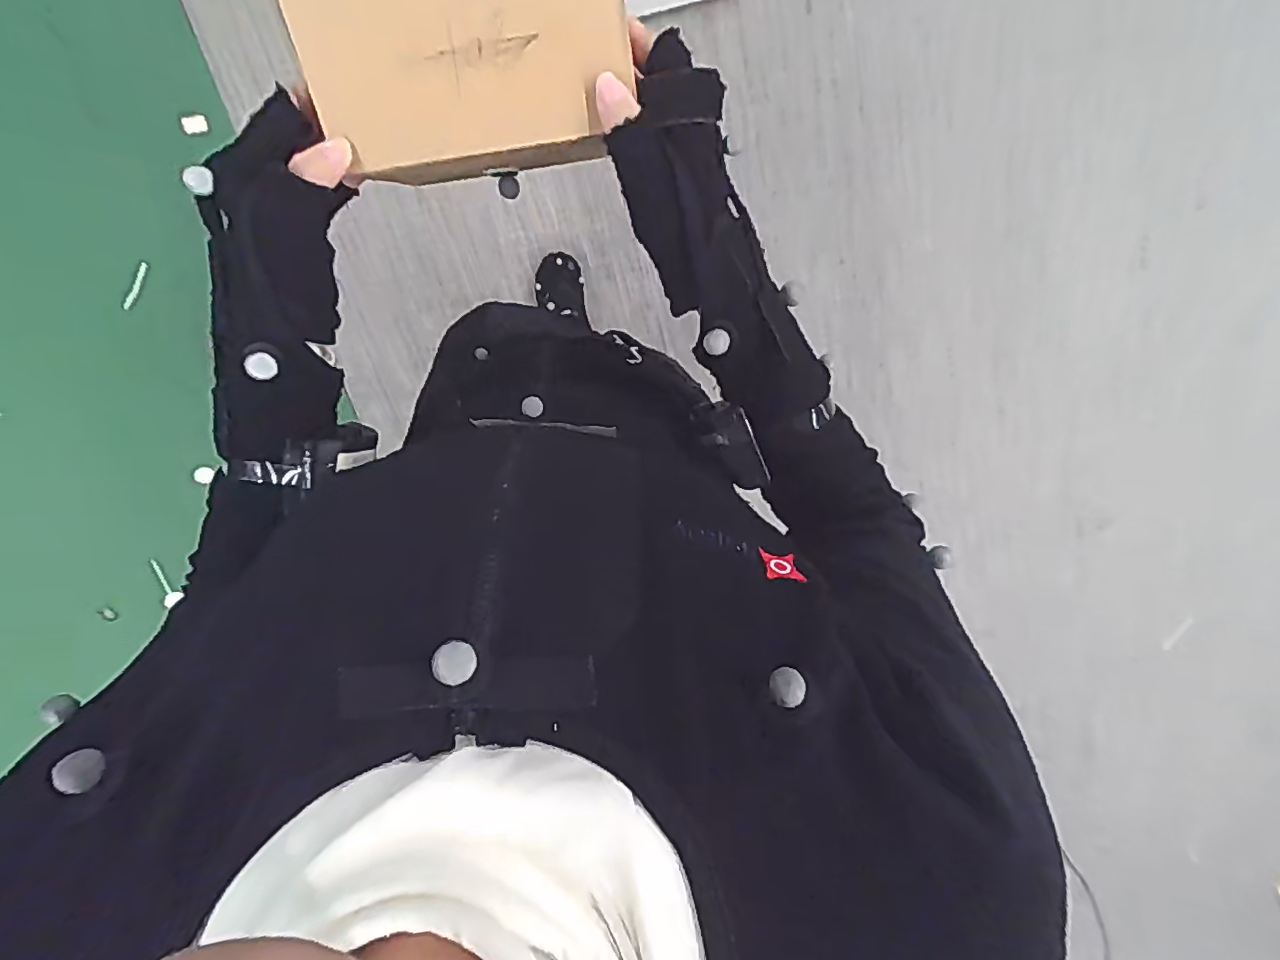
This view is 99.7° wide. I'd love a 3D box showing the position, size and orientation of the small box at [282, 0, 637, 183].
[{"bbox_3d":[-0.098,-0.291,0.324,0.168,0.176,0.179,-9,117,1],"label":"small box"}]
